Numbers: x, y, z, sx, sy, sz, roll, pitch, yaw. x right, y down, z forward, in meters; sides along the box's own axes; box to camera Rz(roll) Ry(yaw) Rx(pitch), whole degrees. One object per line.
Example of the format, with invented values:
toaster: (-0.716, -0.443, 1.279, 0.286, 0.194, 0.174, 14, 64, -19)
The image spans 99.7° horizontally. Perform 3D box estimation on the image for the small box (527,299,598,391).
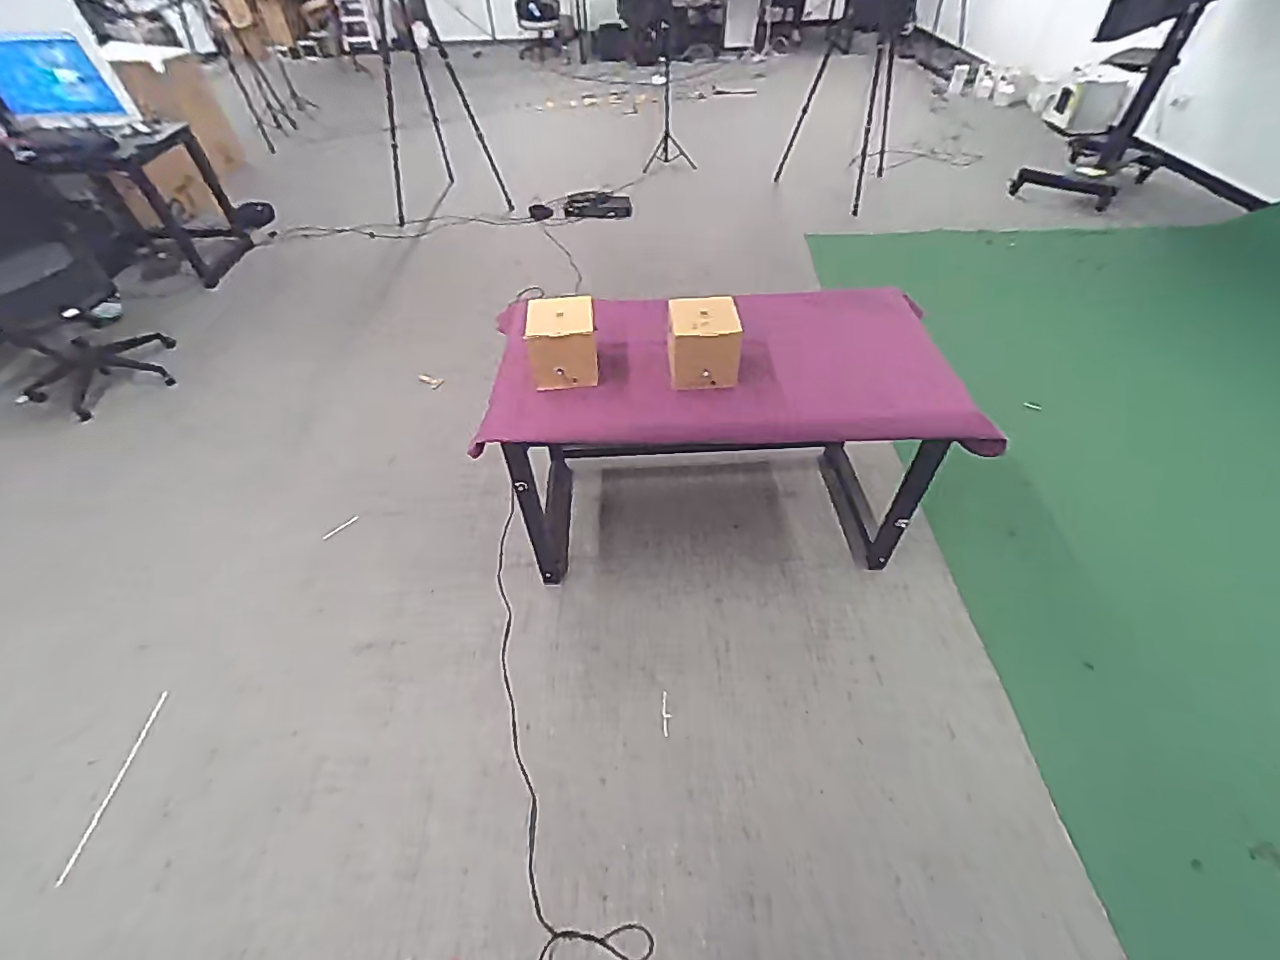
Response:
small box: (-0.201, -0.358, 1.433, 0.168, 0.176, 0.179, -5, 48, -3)

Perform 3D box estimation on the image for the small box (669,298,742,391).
small box: (0.163, -0.353, 1.409, 0.168, 0.176, 0.179, -3, 48, 0)
